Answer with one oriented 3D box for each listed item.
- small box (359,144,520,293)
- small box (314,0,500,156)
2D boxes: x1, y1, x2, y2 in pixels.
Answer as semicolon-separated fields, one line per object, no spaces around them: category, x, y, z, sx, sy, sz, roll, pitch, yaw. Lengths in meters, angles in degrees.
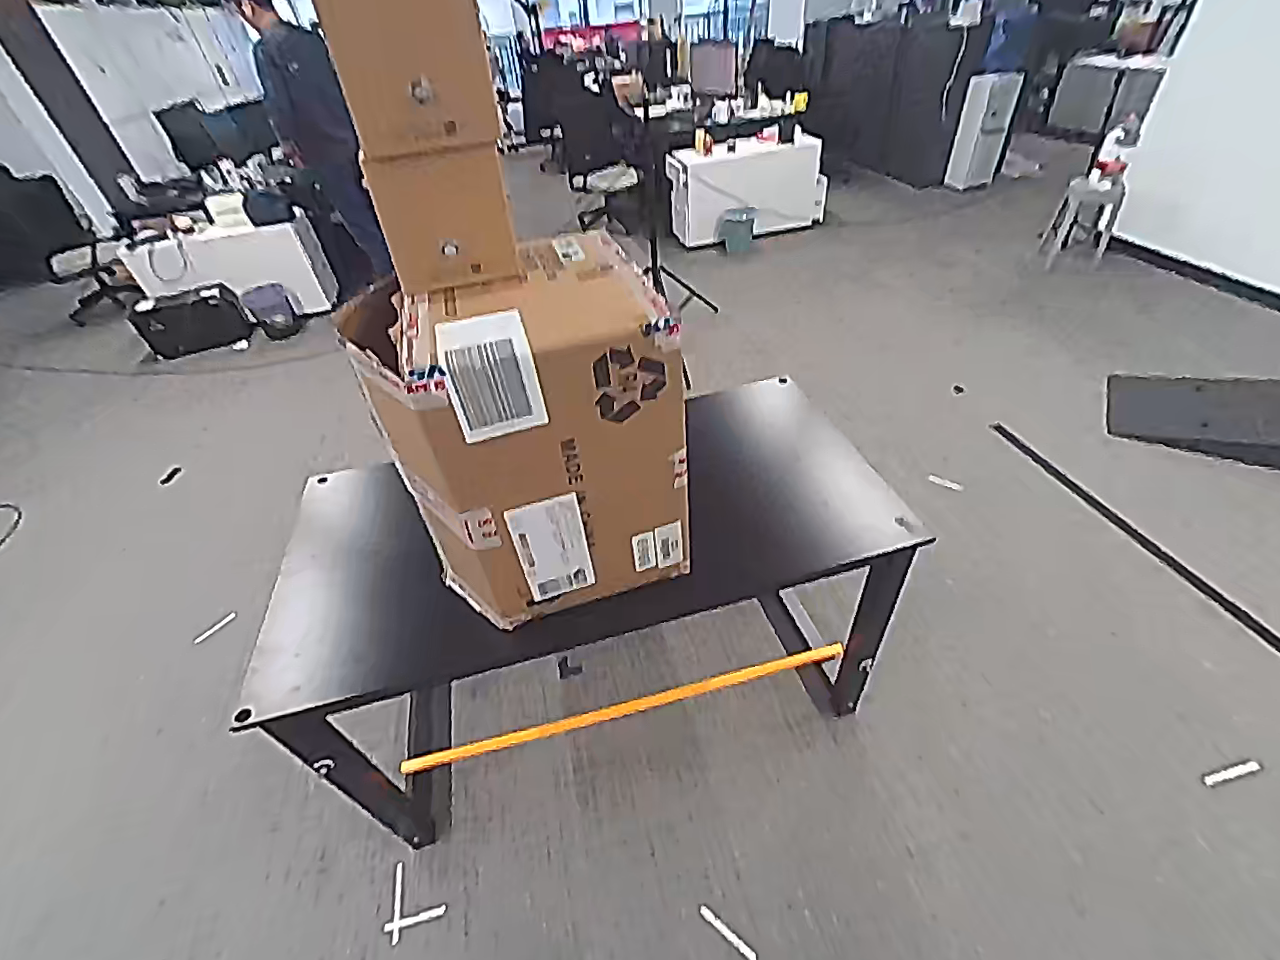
small box;-0.280;-0.384;0.774;0.168;0.176;0.179;-16;41;-12
small box;-0.282;-0.508;0.664;0.168;0.176;0.179;-17;41;-14
